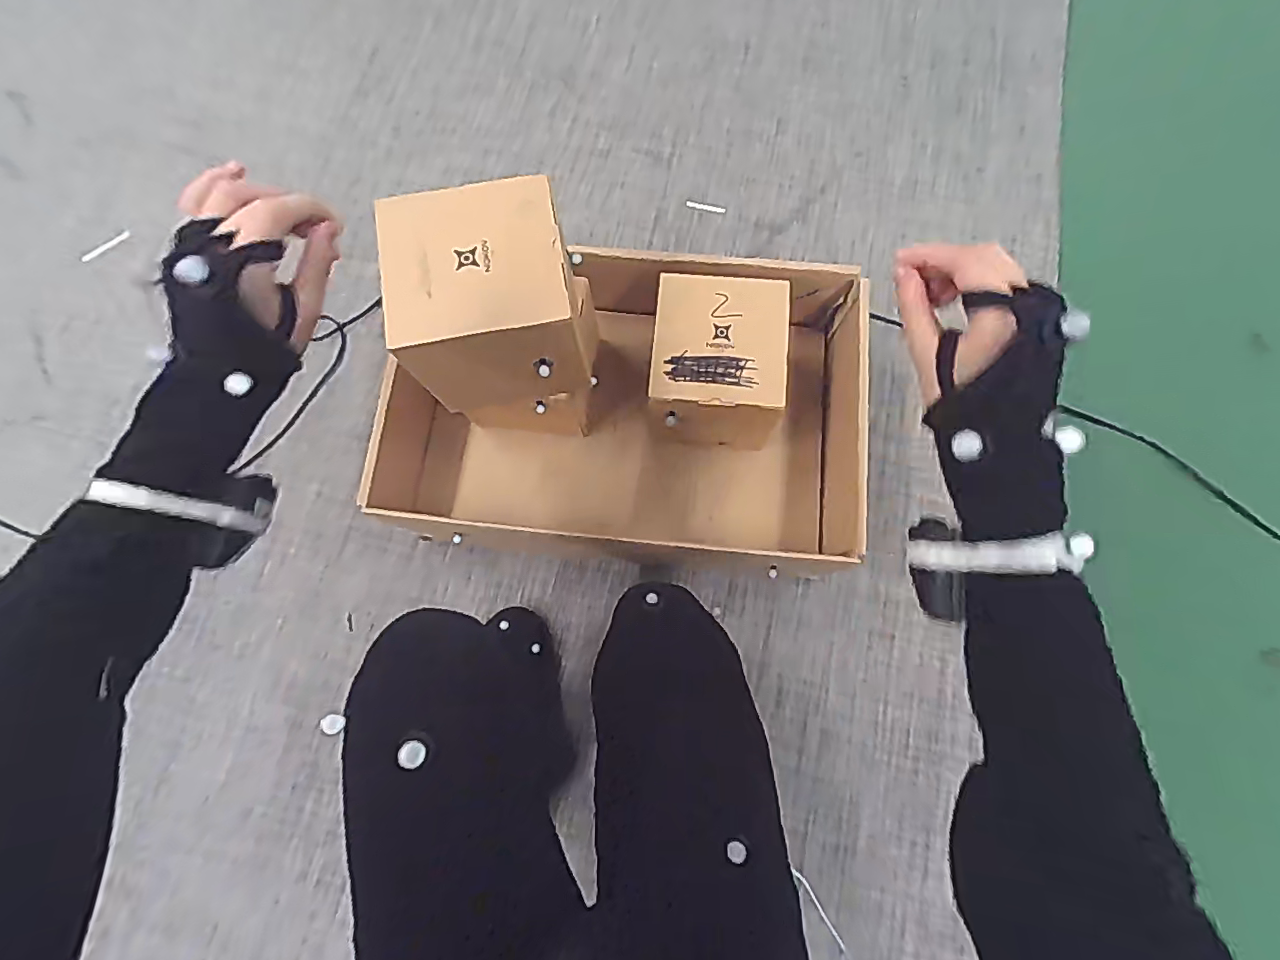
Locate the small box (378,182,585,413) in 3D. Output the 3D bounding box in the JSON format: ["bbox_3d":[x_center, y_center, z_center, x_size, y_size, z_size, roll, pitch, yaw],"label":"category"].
[{"bbox_3d":[-0.159,-0.187,0.595,0.179,0.176,0.168,-10,77,0],"label":"small box"}]

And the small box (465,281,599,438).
[{"bbox_3d":[-0.161,-0.166,0.758,0.179,0.176,0.168,7,77,2],"label":"small box"}]
